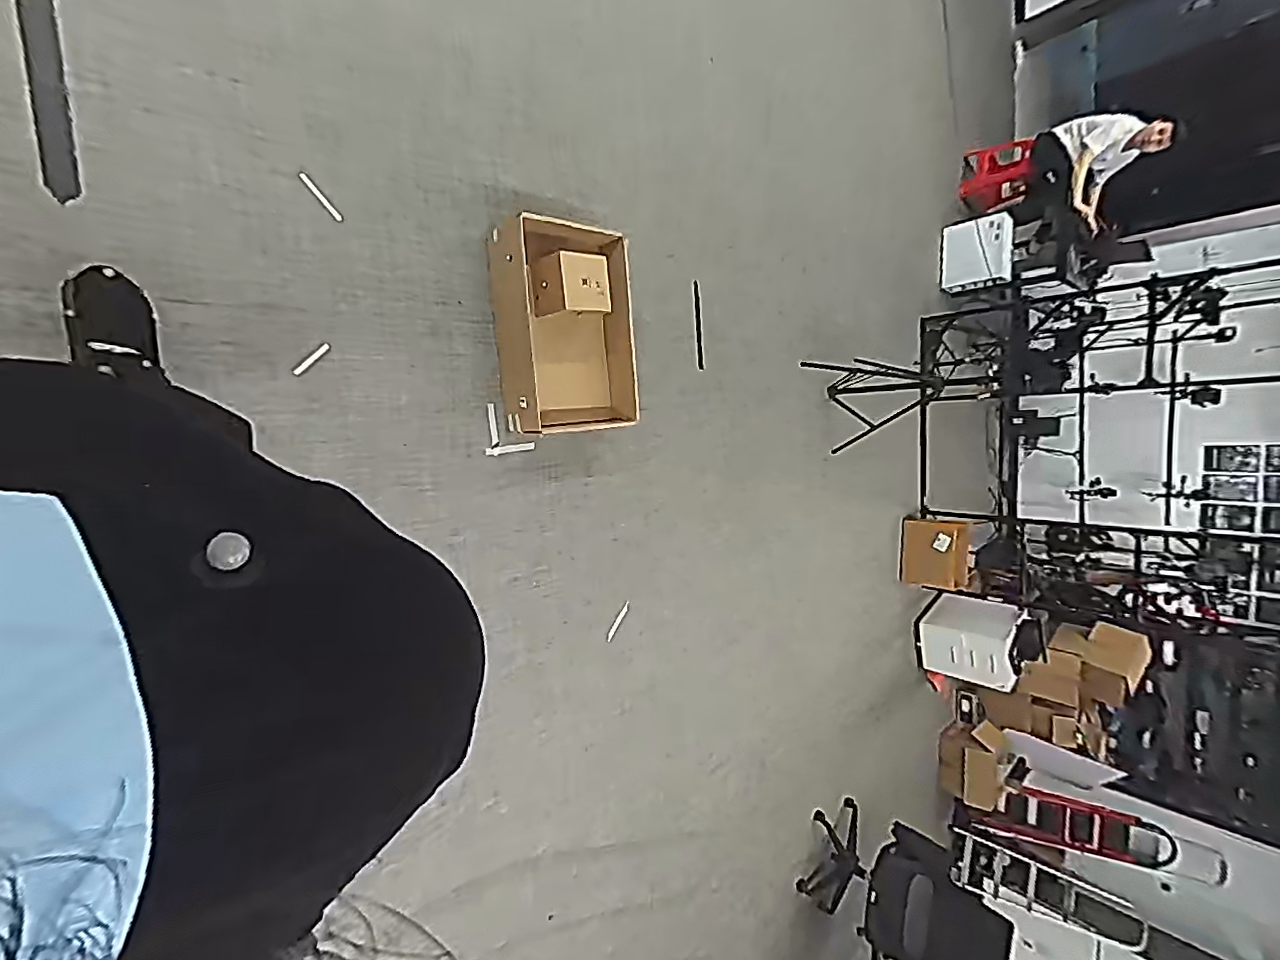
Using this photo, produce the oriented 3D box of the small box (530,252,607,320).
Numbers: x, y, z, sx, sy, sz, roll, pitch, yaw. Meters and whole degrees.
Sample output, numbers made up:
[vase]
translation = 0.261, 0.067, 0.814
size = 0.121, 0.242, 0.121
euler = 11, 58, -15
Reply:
[small box]
translation = -0.228, -0.591, 1.672
size = 0.179, 0.176, 0.168
euler = -13, 103, -42
